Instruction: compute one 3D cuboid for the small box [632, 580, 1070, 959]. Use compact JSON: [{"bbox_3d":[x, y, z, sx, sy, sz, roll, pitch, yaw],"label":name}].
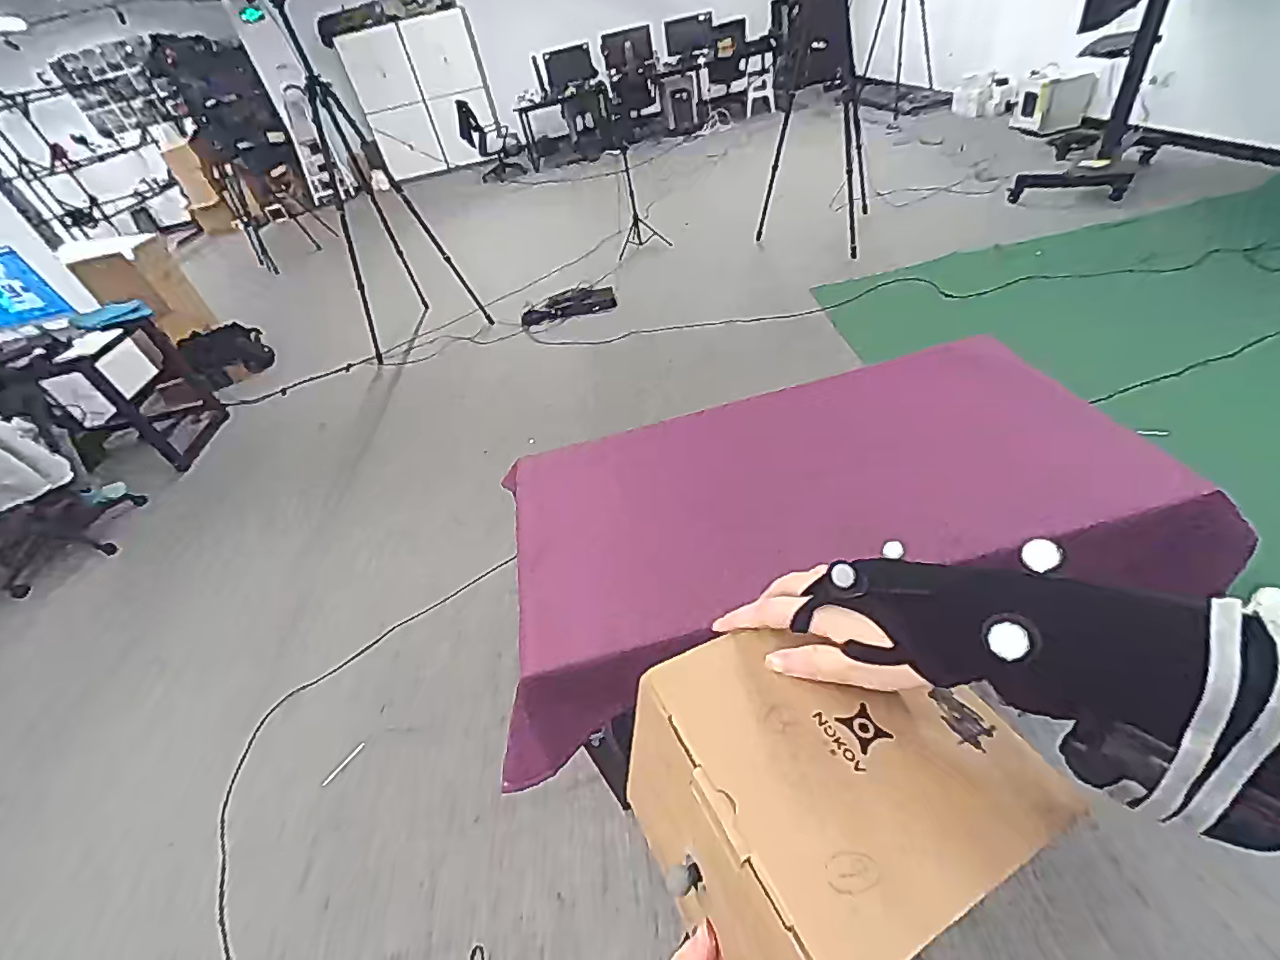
[{"bbox_3d":[0.105,0.201,0.347,0.179,0.176,0.168,-16,44,-24],"label":"small box"}]
